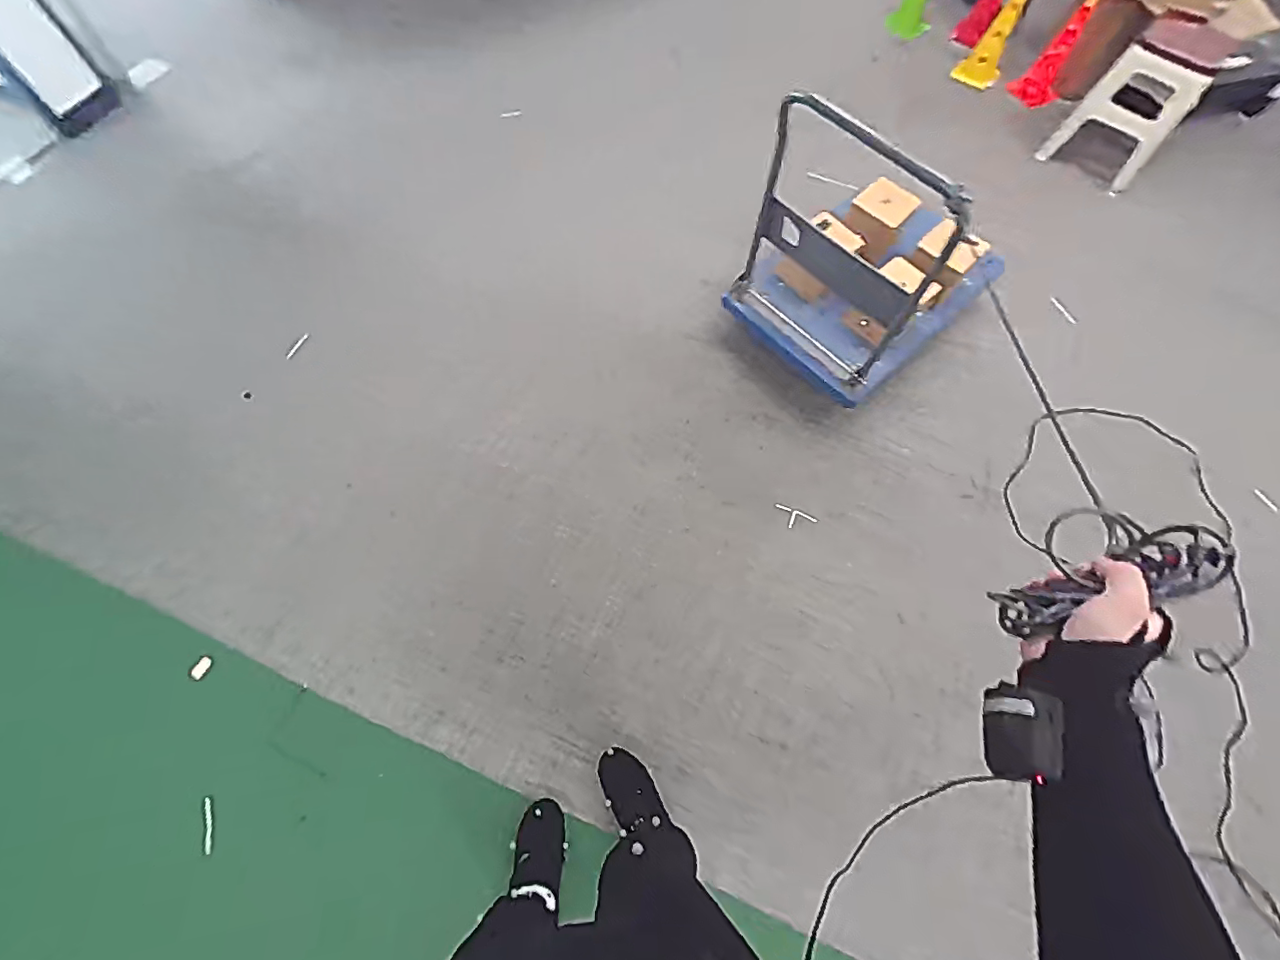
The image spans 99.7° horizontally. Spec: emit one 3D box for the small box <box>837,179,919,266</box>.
[{"bbox_3d":[0.792,-0.863,1.825,0.168,0.176,0.179,42,71,15],"label":"small box"}]

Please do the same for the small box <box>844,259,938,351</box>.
[{"bbox_3d":[0.772,-0.540,1.683,0.179,0.176,0.168,-38,73,-16],"label":"small box"}]

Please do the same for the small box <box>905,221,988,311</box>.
[{"bbox_3d":[0.969,-0.691,1.755,0.179,0.176,0.168,-41,73,-17],"label":"small box"}]
